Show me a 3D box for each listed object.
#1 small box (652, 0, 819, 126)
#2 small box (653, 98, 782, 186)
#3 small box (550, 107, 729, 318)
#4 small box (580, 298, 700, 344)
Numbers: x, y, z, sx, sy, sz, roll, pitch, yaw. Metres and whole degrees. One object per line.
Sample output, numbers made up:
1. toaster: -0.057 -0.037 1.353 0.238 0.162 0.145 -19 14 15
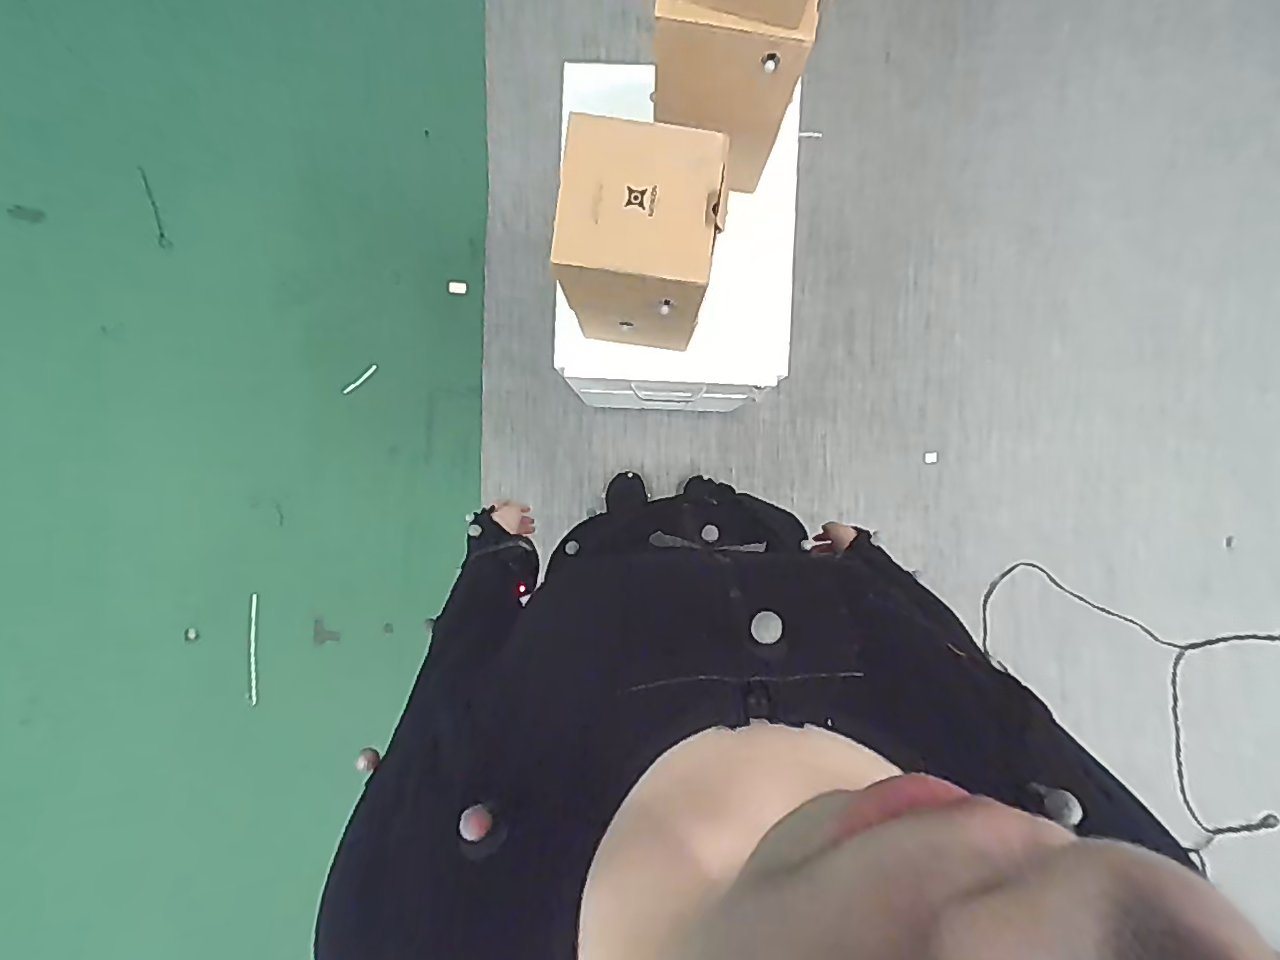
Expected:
1. small box: 0.111 -0.565 0.651 0.179 0.176 0.168 9 92 0
2. small box: 0.117 -0.573 0.813 0.179 0.176 0.168 10 92 0
3. small box: 0.000 -0.307 0.657 0.179 0.176 0.168 7 90 1
4. small box: 0.003 -0.313 0.819 0.179 0.176 0.168 8 91 -1
